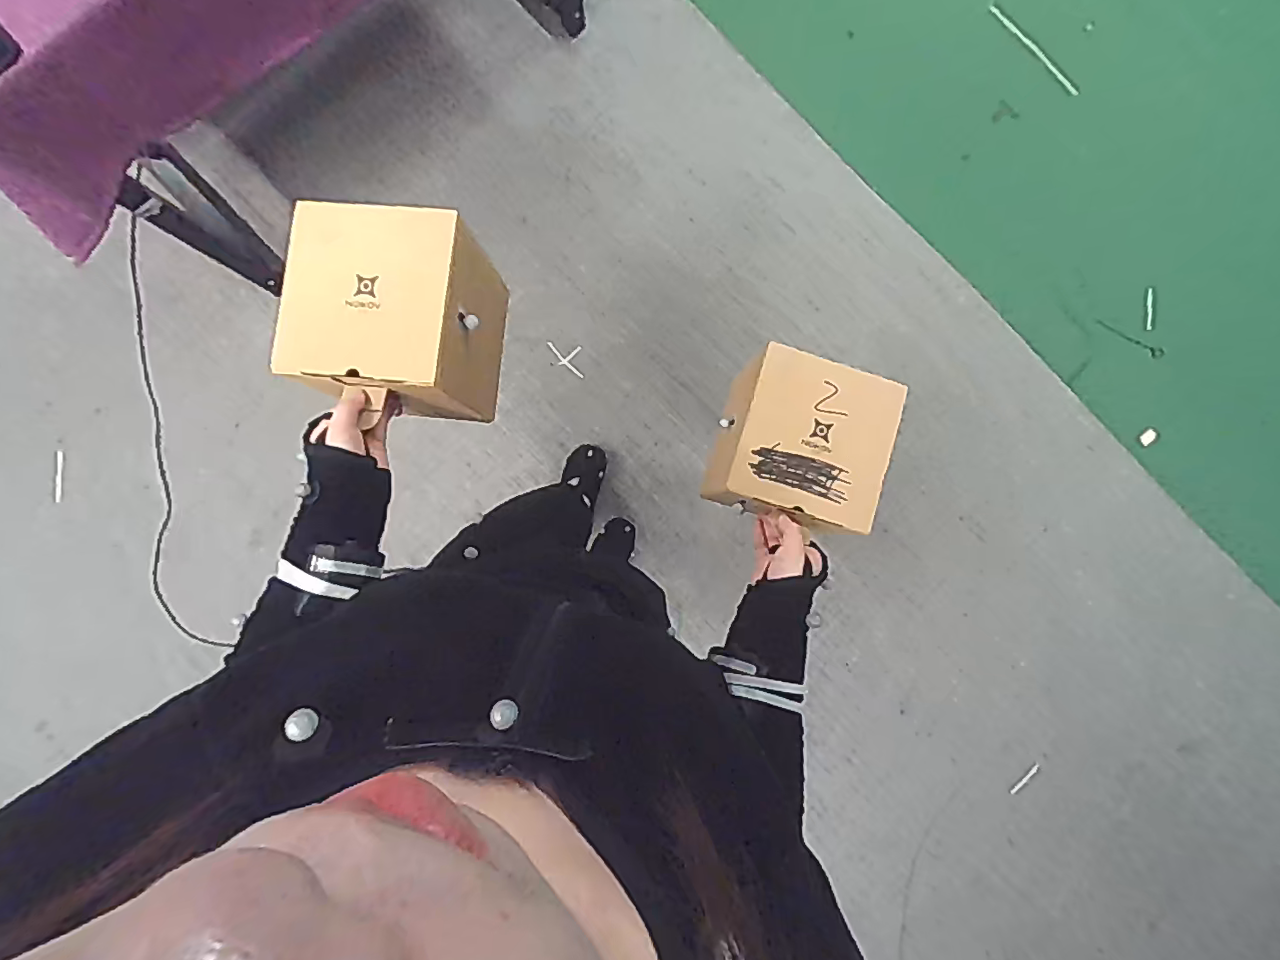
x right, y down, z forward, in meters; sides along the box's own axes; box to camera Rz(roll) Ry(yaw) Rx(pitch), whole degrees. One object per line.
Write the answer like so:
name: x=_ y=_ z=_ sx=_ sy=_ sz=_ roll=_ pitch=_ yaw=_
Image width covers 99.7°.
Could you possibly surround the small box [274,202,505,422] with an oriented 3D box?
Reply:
small box: x=-0.257 y=-0.172 z=0.599 sx=0.168 sy=0.176 sz=0.179 roll=5 pitch=86 yaw=3
